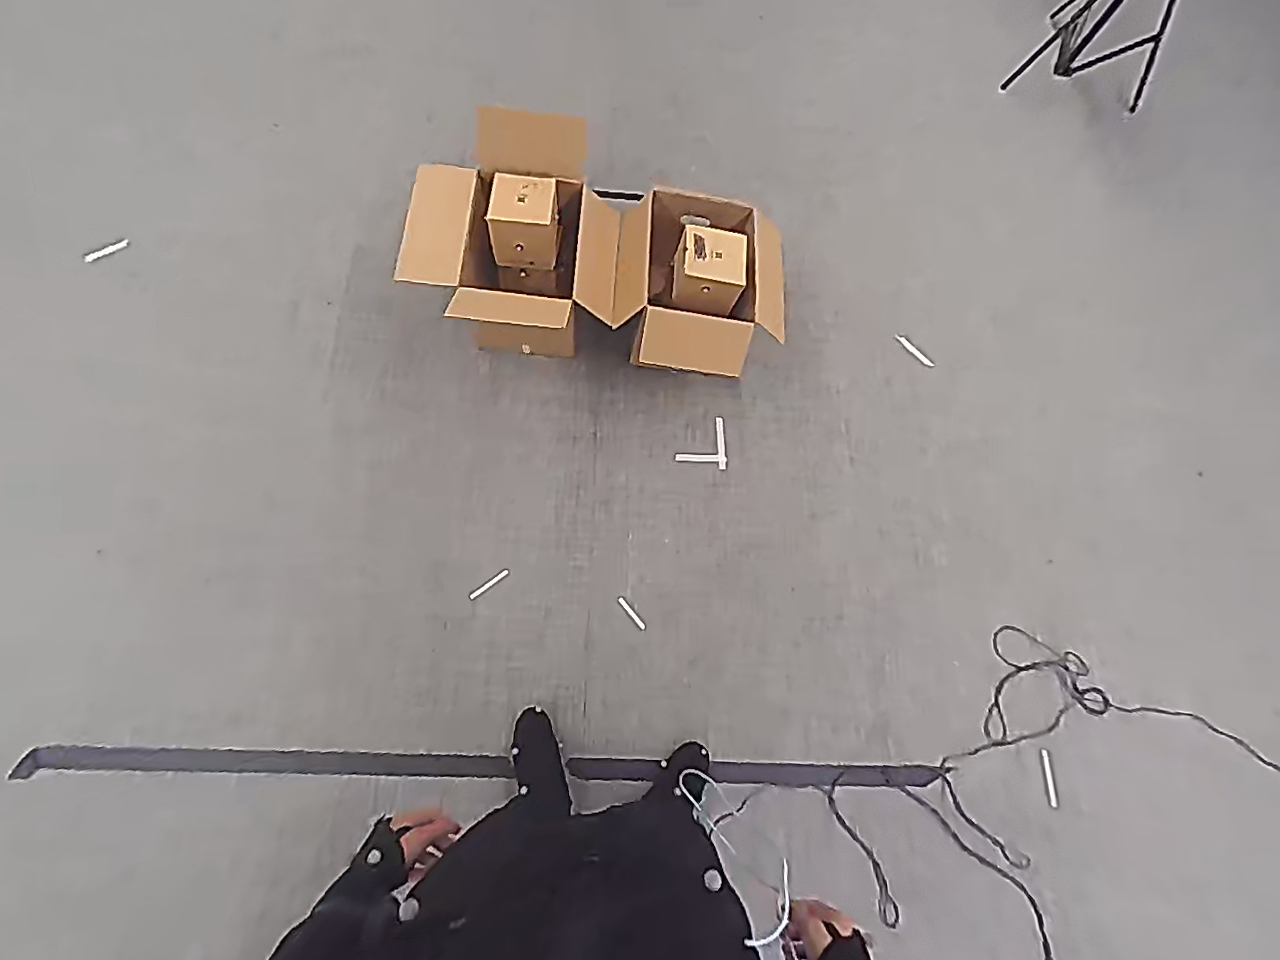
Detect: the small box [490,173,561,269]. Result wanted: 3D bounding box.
[{"bbox_3d":[-0.314,-0.721,1.521,0.168,0.176,0.179,4,67,-5],"label":"small box"}]
